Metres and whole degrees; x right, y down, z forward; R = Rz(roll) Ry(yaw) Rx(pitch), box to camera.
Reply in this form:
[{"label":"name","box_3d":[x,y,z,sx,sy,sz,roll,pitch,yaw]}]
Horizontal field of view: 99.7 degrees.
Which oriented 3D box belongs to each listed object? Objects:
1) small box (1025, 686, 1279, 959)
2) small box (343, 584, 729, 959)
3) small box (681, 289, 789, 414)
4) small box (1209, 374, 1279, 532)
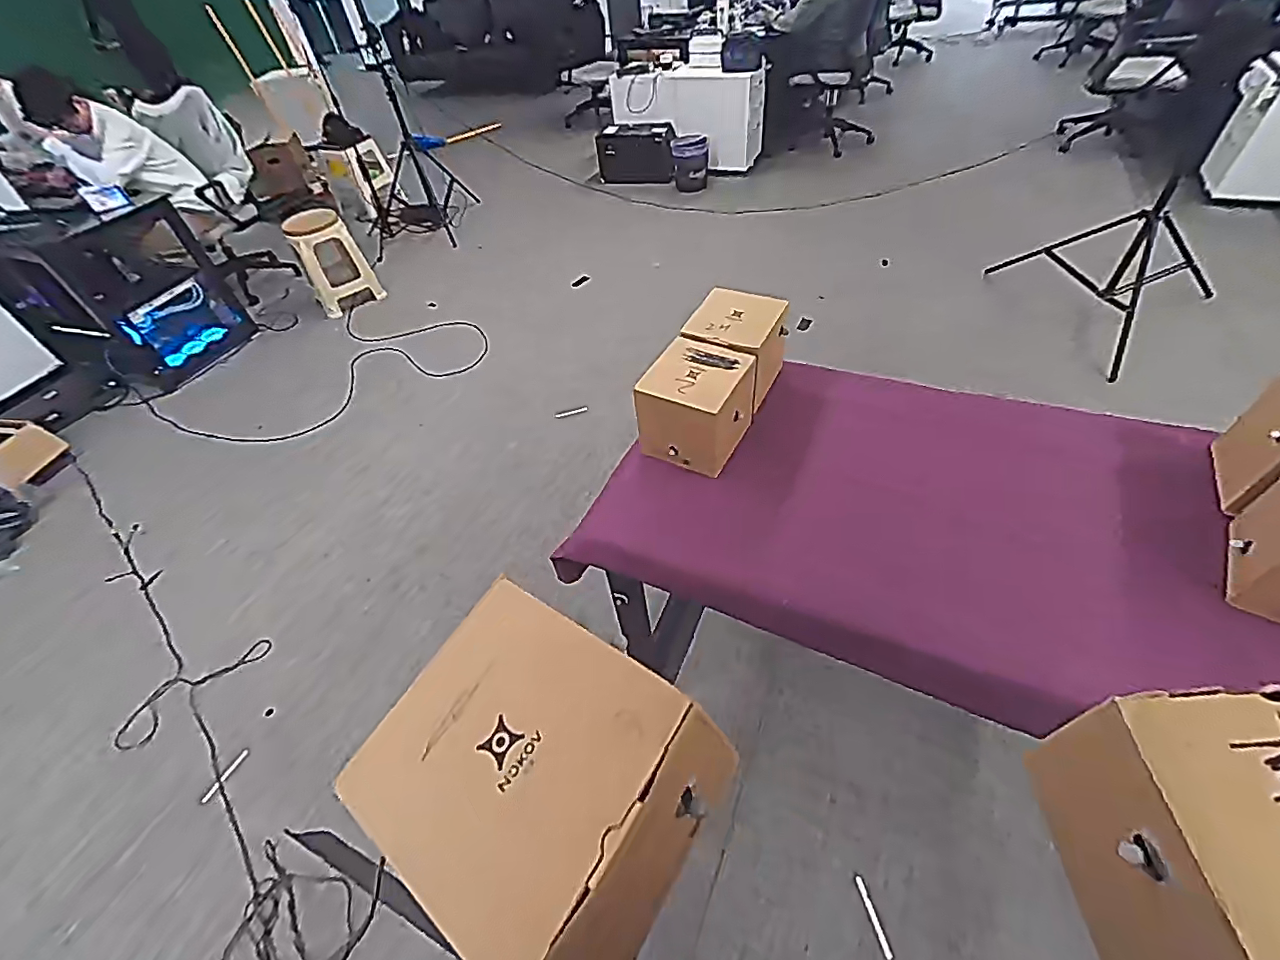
[{"label":"small box","box_3d":[0.374,0.236,0.322,0.168,0.176,0.179,-8,52,9]},{"label":"small box","box_3d":[-0.055,0.209,0.386,0.179,0.176,0.168,21,63,33]},{"label":"small box","box_3d":[0.197,-0.271,1.137,0.168,0.176,0.179,19,54,23]},{"label":"small box","box_3d":[1.024,-0.030,0.820,0.168,0.176,0.179,20,53,22]}]
